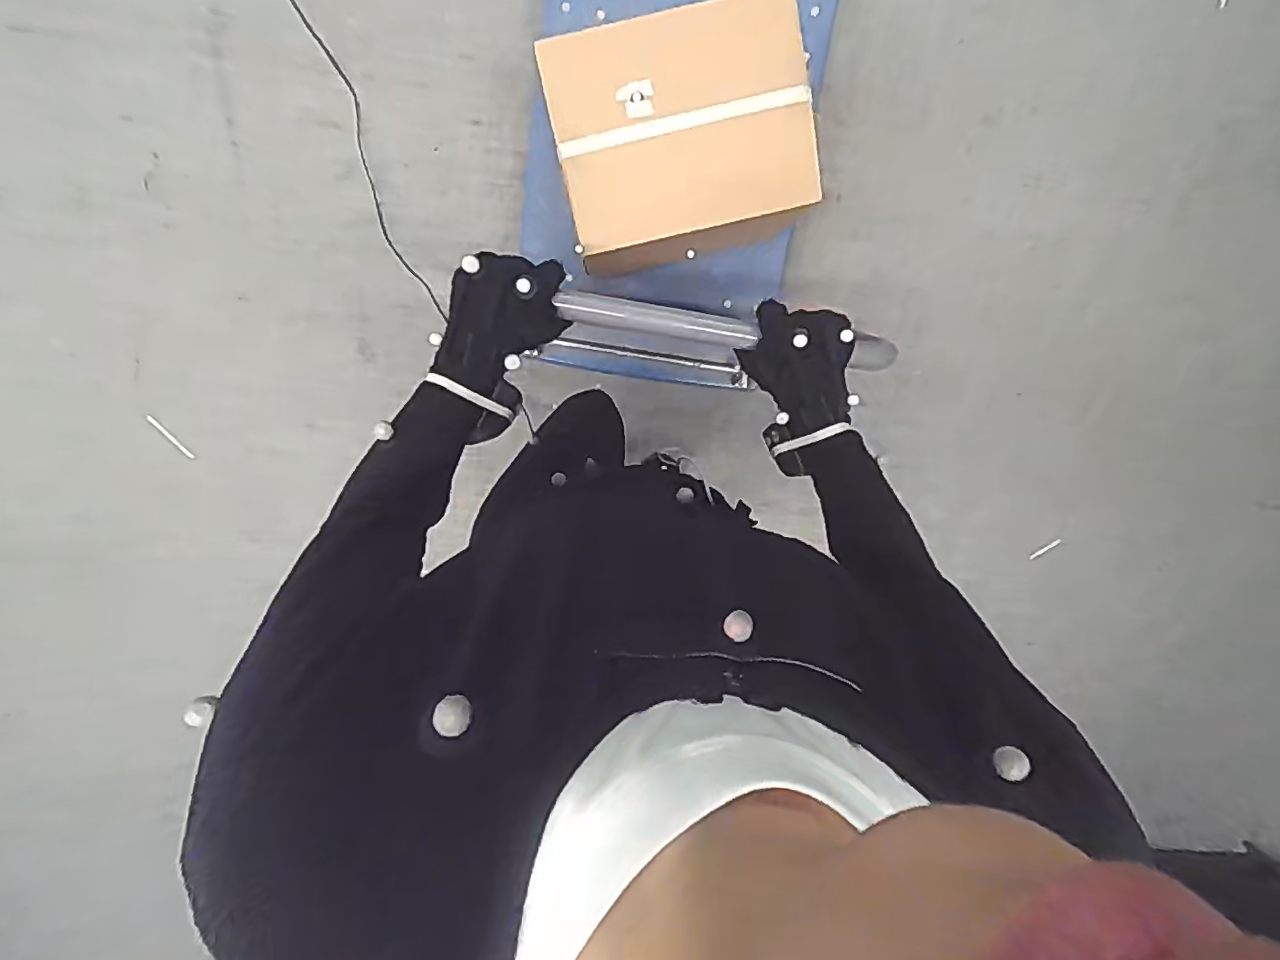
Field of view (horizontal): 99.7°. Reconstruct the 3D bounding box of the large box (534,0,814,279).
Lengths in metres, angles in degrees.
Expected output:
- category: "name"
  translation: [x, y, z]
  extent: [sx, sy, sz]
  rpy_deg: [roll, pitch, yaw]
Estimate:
- category: "large box"
  translation: [0.058, -0.593, 1.005]
  extent: [0.408, 0.320, 0.320]
  rpy_deg: [-13, 103, 1]
